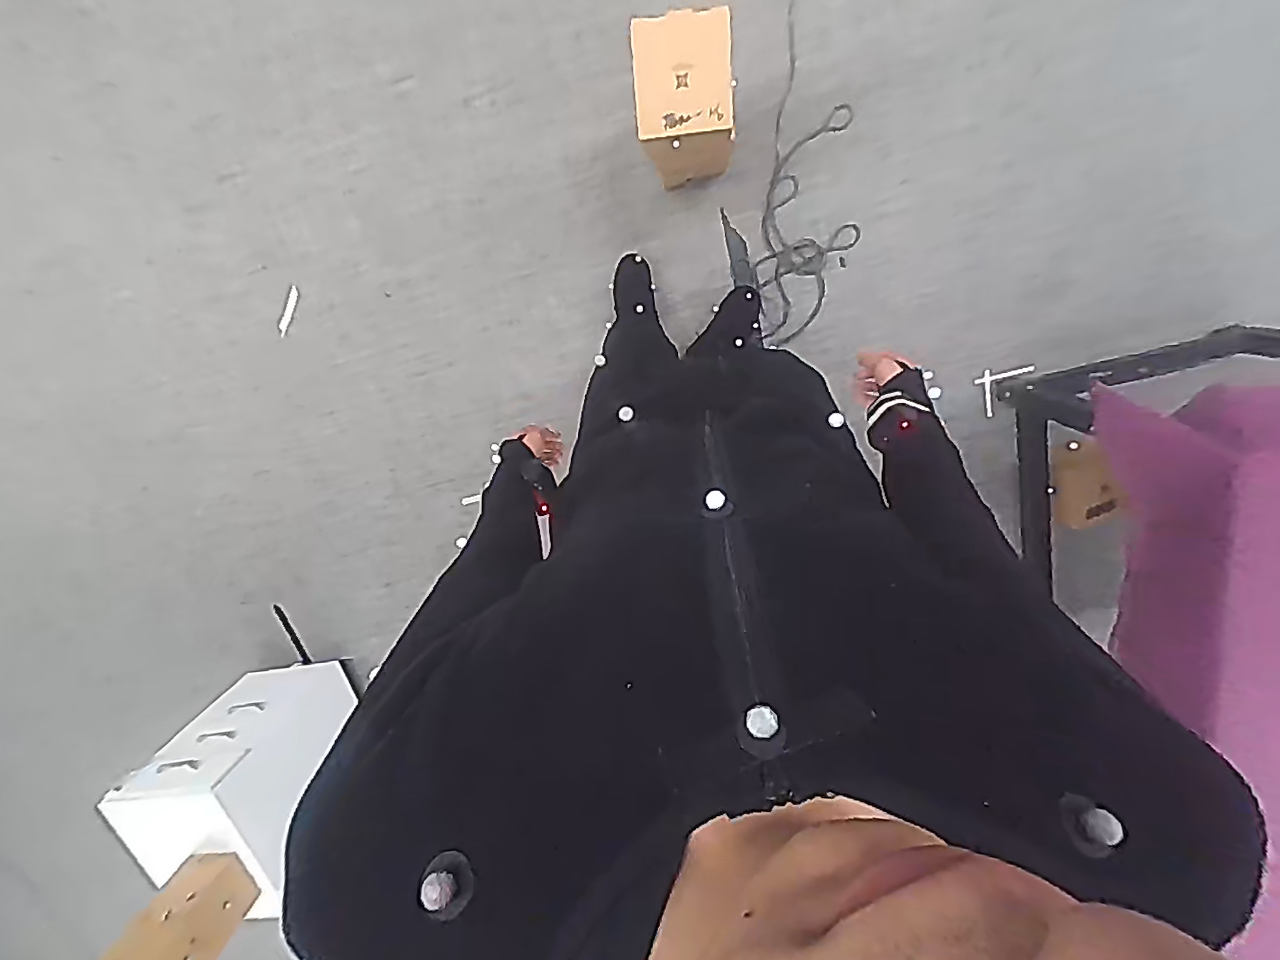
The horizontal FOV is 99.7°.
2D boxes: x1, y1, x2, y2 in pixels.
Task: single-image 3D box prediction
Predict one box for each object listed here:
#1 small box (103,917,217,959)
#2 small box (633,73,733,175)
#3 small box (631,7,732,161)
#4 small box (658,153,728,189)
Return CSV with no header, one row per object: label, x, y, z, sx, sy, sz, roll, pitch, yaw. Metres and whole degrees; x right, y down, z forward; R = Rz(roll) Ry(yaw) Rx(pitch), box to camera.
small box,-1.240,1.249,1.371,0.179,0.176,0.168,-8,110,9
small box,0.095,-0.763,1.136,0.179,0.176,0.168,-10,108,9
small box,0.078,-0.705,0.983,0.168,0.176,0.179,-3,109,7
small box,0.111,-0.820,1.287,0.168,0.176,0.179,-11,109,11
